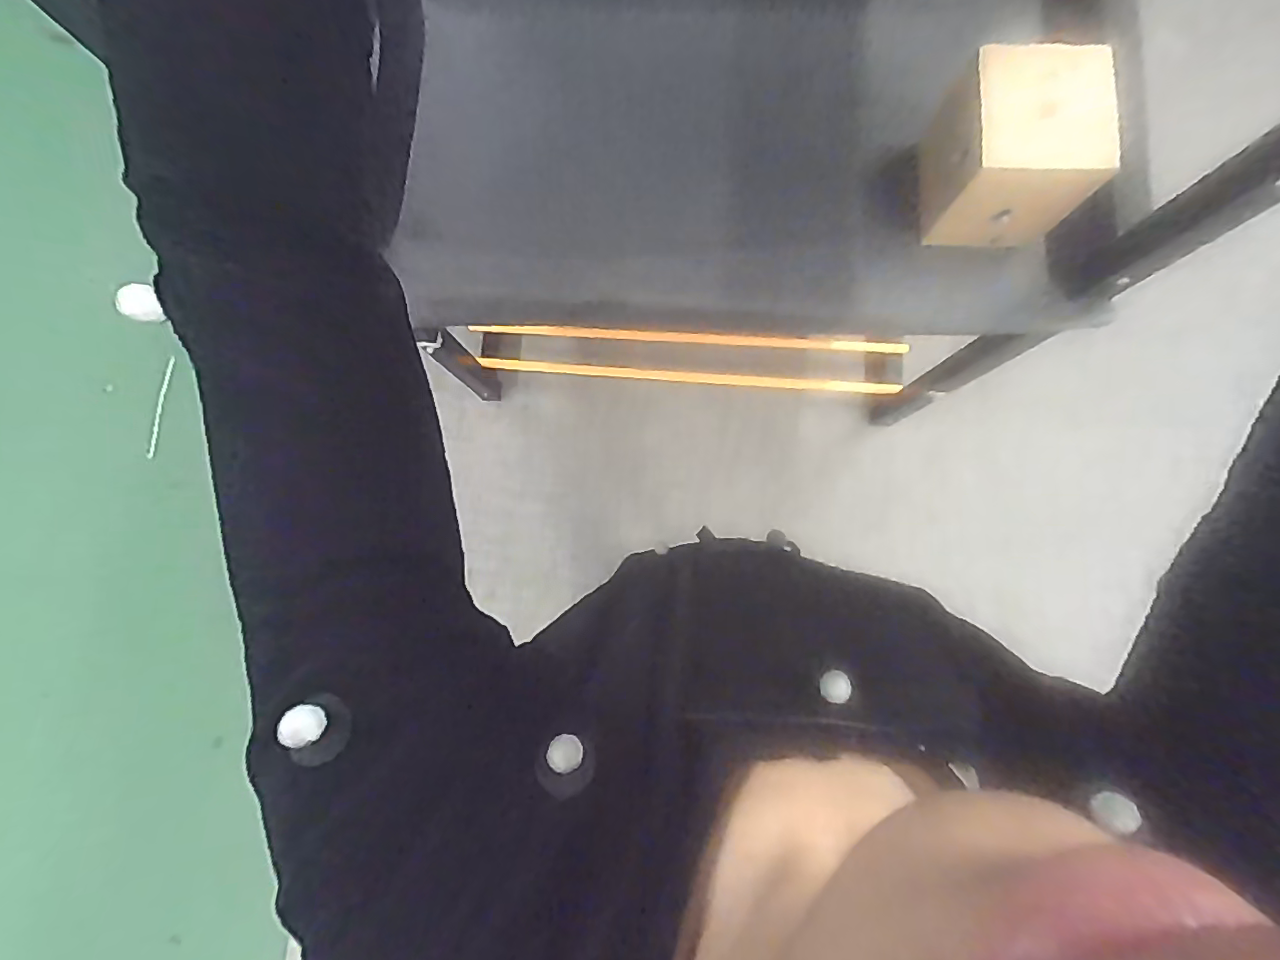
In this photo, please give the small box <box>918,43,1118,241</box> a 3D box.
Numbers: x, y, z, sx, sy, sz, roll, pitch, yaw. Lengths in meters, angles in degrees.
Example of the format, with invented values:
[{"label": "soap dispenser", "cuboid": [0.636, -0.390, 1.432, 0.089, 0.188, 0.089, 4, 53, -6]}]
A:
[{"label": "small box", "cuboid": [0.508, -0.456, 0.752, 0.168, 0.176, 0.179, 2, 81, 3]}]
